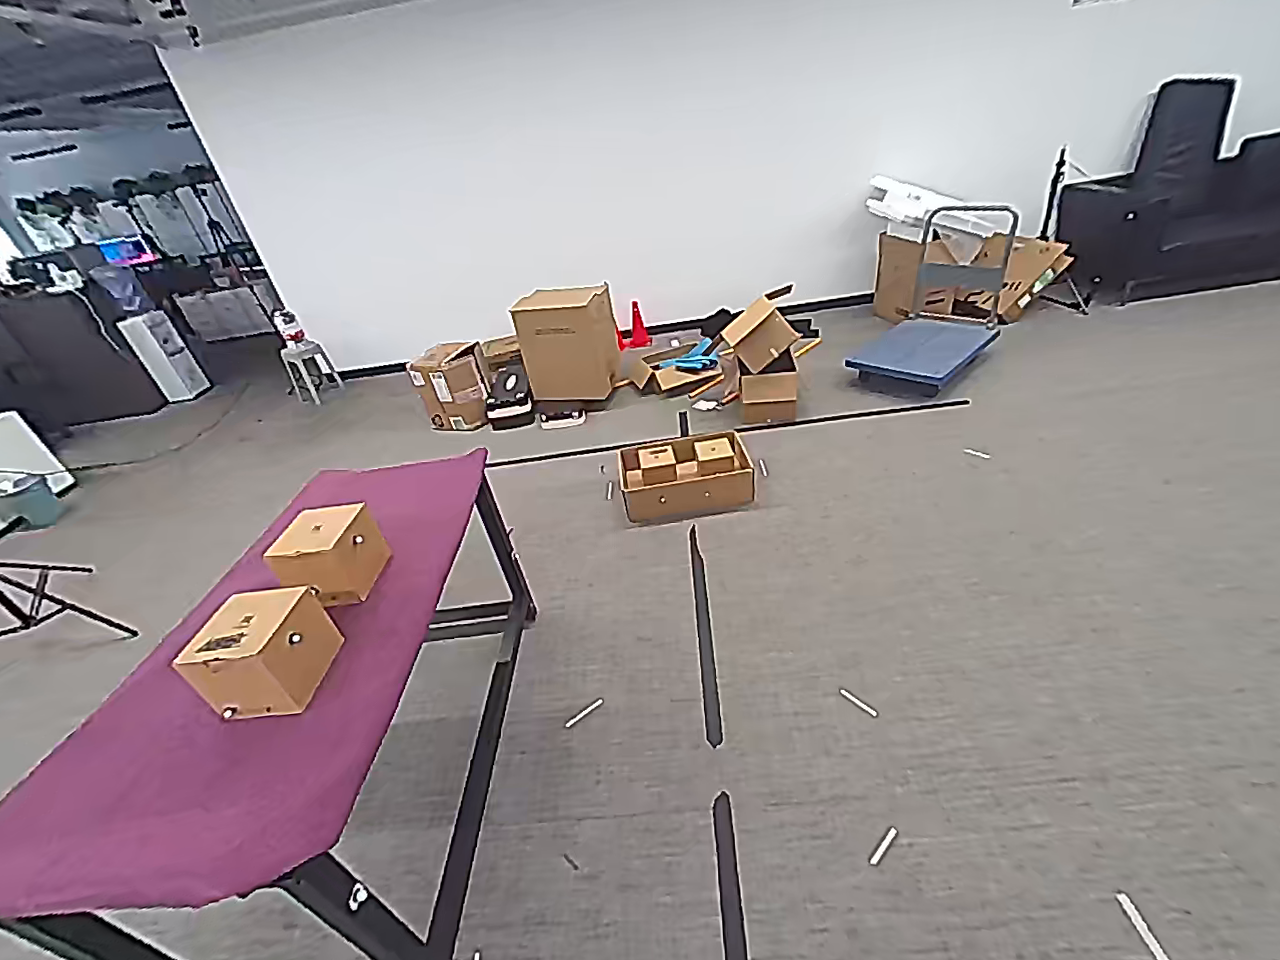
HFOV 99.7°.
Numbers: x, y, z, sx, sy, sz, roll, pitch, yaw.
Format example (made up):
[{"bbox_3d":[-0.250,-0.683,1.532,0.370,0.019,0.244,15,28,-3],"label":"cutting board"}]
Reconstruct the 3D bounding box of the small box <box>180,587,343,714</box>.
[{"bbox_3d":[-0.724,0.339,1.063,0.168,0.176,0.179,-7,32,5],"label":"small box"}]

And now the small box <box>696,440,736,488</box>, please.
[{"bbox_3d":[0.371,-0.072,2.641,0.168,0.176,0.179,-9,32,2],"label":"small box"}]

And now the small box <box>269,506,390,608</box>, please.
[{"bbox_3d":[-0.731,0.186,1.304,0.168,0.176,0.179,-7,33,5],"label":"small box"}]
